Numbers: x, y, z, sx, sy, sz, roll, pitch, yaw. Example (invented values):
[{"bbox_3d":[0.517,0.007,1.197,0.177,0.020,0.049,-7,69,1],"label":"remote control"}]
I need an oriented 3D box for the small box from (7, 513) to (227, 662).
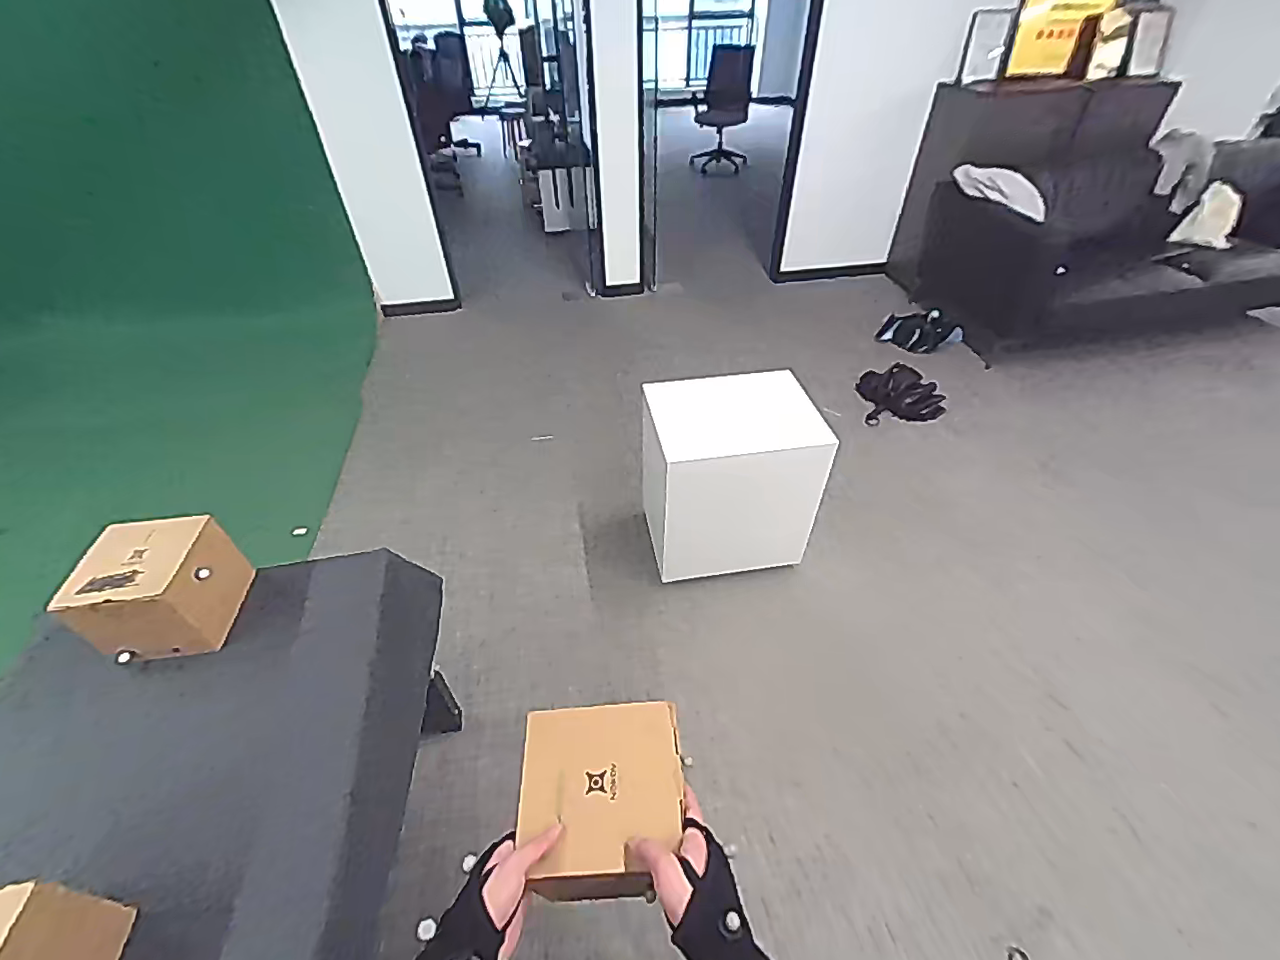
[{"bbox_3d":[-0.823,0.179,0.881,0.168,0.176,0.179,-5,42,-9],"label":"small box"}]

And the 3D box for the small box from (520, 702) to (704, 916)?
[{"bbox_3d":[-0.027,0.375,0.616,0.179,0.176,0.168,-7,44,0],"label":"small box"}]
